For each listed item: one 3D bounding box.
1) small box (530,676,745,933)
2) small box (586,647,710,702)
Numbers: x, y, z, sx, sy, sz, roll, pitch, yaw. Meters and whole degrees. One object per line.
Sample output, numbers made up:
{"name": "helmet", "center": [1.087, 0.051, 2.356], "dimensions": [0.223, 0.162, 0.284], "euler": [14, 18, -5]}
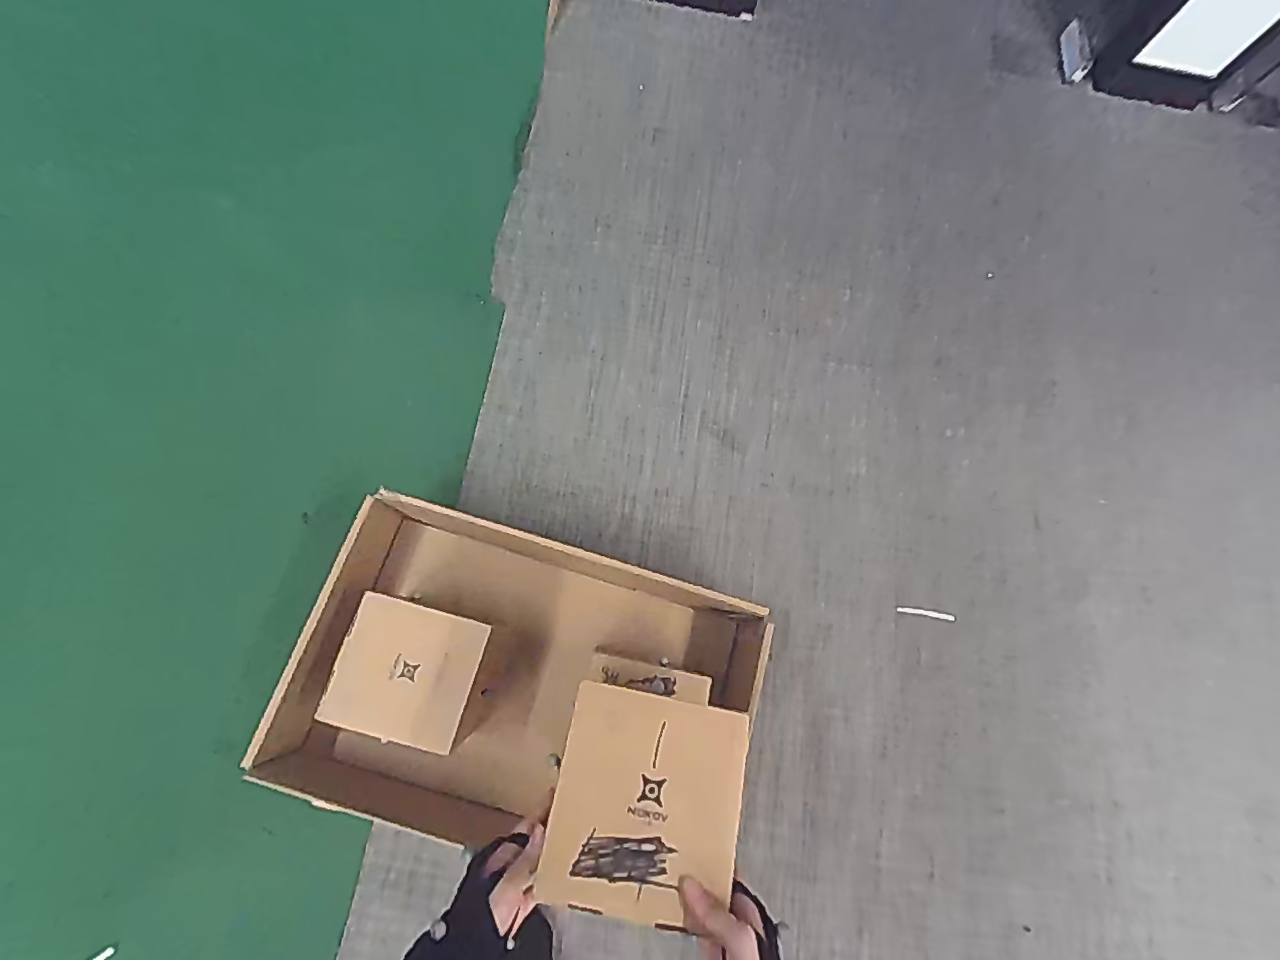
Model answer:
{"name": "small box", "center": [-0.004, 0.308, 0.551], "dimensions": [0.168, 0.176, 0.179], "euler": [12, 68, -2]}
{"name": "small box", "center": [-0.008, 0.346, 0.773], "dimensions": [0.168, 0.176, 0.179], "euler": [13, 74, -1]}
